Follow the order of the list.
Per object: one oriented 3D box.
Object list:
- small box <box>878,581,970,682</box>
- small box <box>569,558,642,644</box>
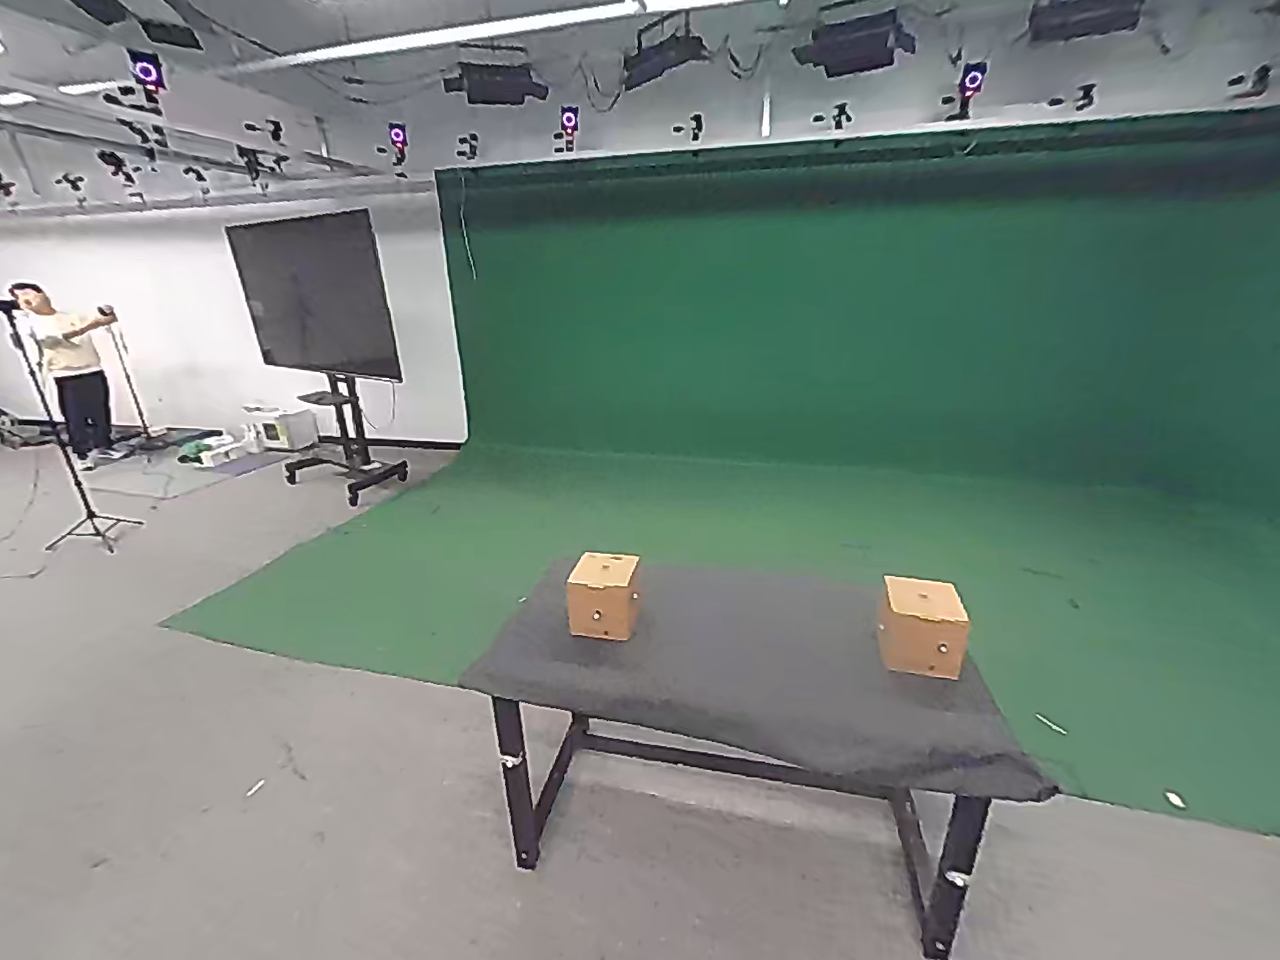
[{"bbox_3d":[0.701,0.376,1.352,0.168,0.176,0.179,5,20,15],"label":"small box"},{"bbox_3d":[-0.089,0.339,1.518,0.168,0.176,0.179,3,21,11],"label":"small box"}]
